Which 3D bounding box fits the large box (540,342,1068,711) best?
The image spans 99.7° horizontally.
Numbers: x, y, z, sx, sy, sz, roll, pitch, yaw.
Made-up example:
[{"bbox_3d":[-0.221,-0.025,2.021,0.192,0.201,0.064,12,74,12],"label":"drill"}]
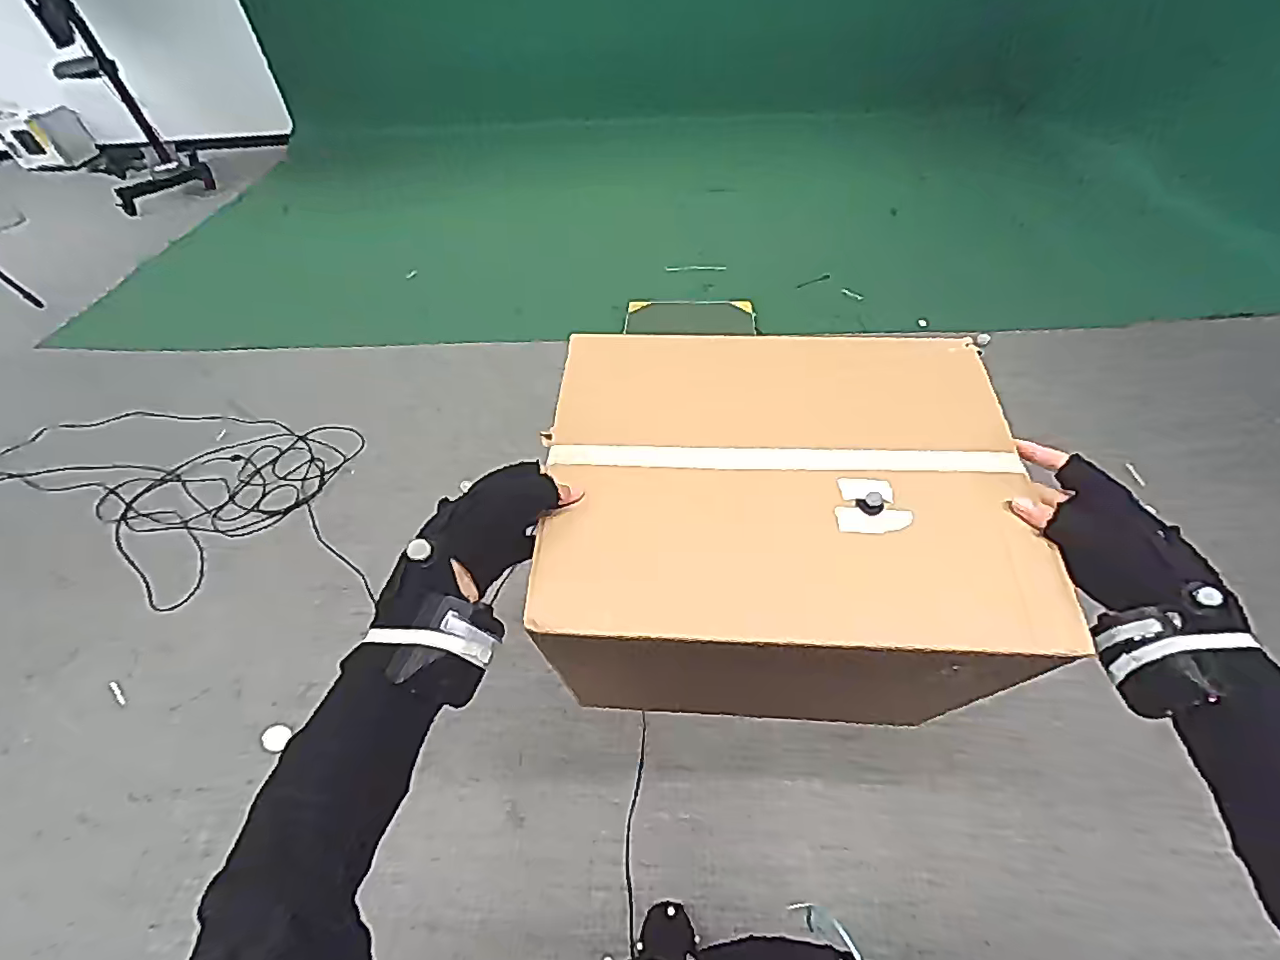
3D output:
[{"bbox_3d":[0.126,0.066,0.608,0.408,0.320,0.320,1,58,2],"label":"large box"}]
